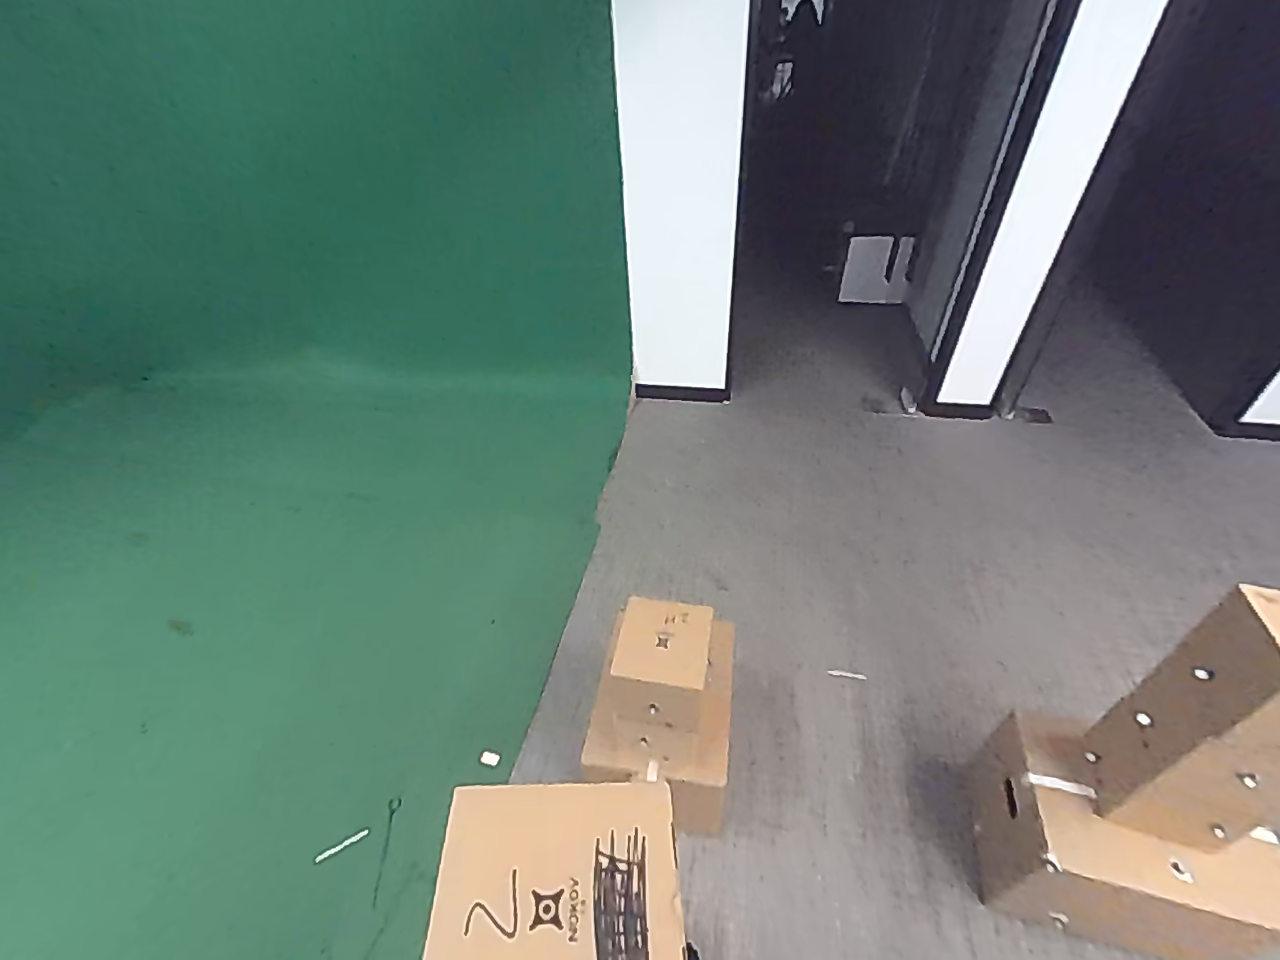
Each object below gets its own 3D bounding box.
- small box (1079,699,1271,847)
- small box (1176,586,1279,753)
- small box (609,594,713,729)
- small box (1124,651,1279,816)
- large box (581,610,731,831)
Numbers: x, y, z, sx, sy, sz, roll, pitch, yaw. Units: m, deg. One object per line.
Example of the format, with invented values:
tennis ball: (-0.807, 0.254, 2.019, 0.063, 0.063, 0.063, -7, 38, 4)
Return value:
small box: (0.971, 0.546, 1.004, 0.179, 0.176, 0.168, 12, 41, 17)
small box: (0.961, 0.292, 0.796, 0.168, 0.176, 0.179, 13, 42, 17)
small box: (0.047, 0.349, 1.036, 0.168, 0.176, 0.179, 7, 41, 11)
small box: (0.967, 0.422, 0.897, 0.179, 0.176, 0.168, 12, 41, 18)
large box: (0.061, 0.599, 1.372, 0.320, 0.320, 0.408, 5, 41, 9)
